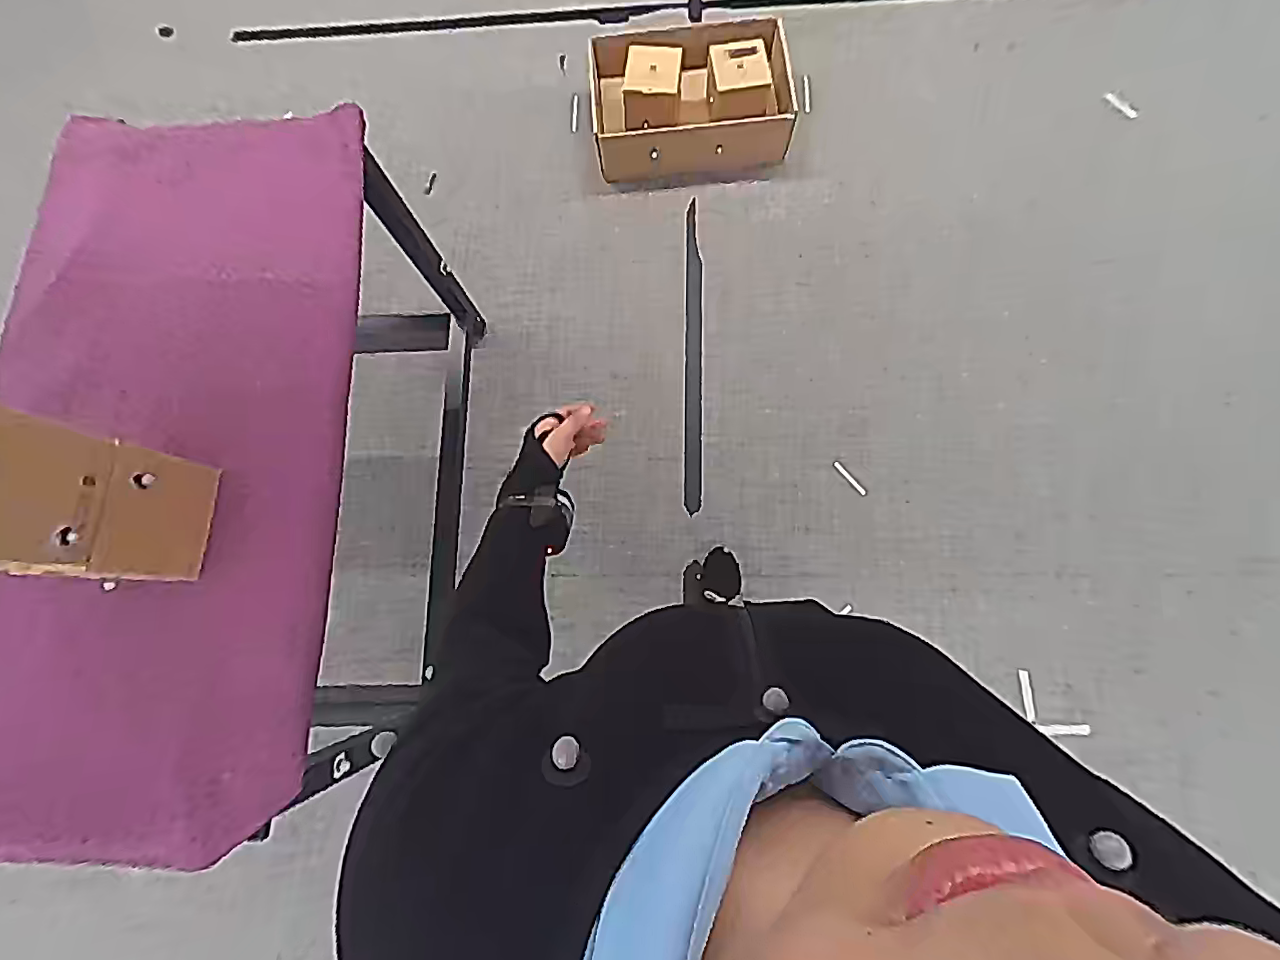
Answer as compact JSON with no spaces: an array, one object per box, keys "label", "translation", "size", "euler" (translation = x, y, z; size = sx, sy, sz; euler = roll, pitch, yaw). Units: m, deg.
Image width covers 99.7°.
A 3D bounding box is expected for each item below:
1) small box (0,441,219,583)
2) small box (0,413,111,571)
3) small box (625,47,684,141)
[{"label":"small box","translation":[-0.753,0.051,0.772],"size":[0.168,0.176,0.179],"euler":[0,77,4]},{"label":"small box","translation":[-0.771,0.013,0.613],"size":[0.179,0.176,0.168],"euler":[-1,76,4]},{"label":"small box","translation":[0.047,-1.228,1.724],"size":[0.168,0.176,0.179],"euler":[6,77,4]}]
